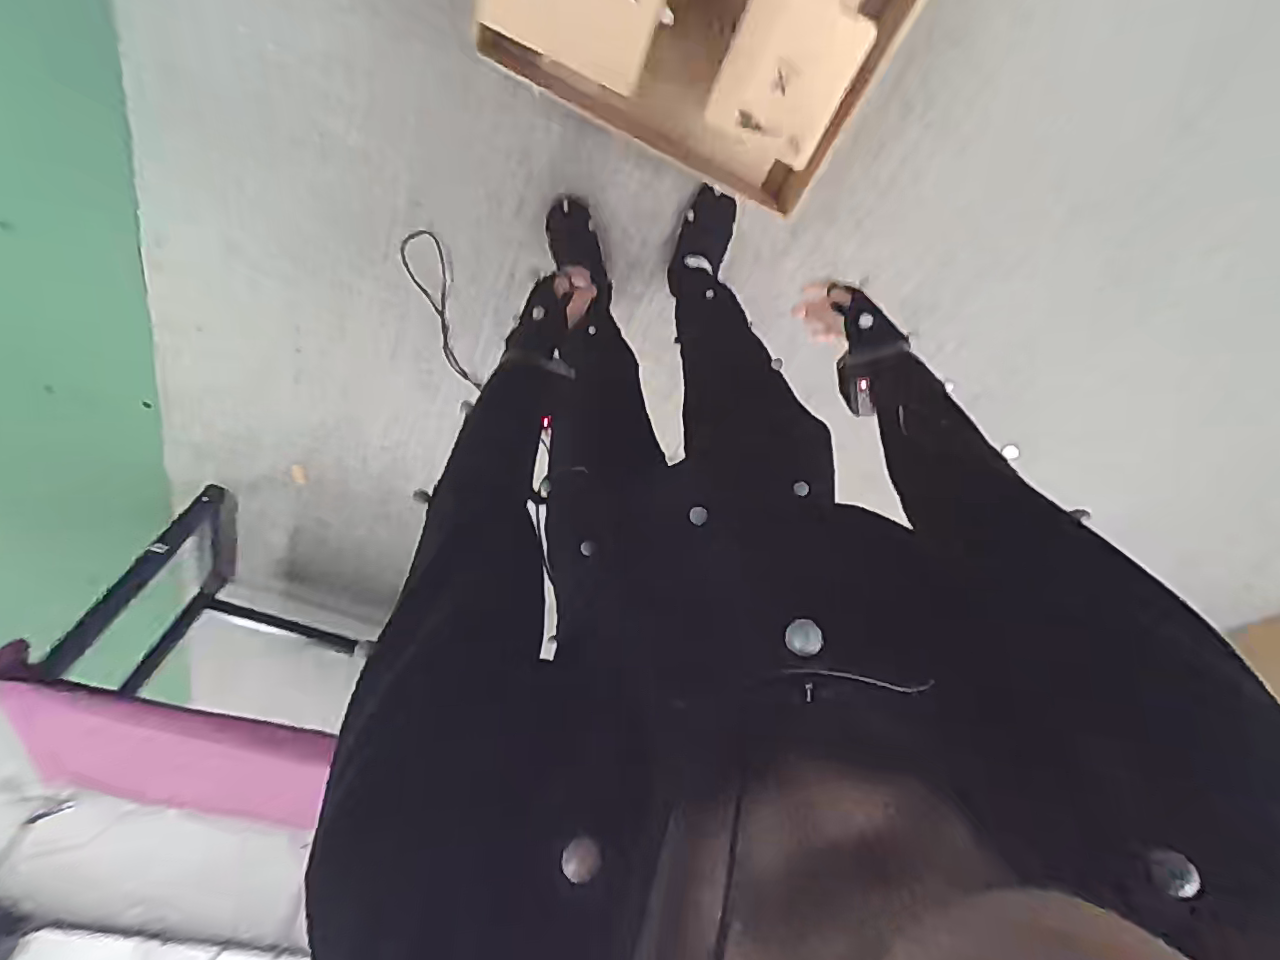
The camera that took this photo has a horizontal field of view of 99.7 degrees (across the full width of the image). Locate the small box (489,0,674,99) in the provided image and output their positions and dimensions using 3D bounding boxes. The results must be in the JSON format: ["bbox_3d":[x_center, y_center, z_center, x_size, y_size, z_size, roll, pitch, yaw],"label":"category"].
[{"bbox_3d":[-0.047,-0.566,0.604,0.179,0.176,0.168,18,132,-13],"label":"small box"}]

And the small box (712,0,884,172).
[{"bbox_3d":[0.211,-0.588,0.784,0.168,0.176,0.179,20,129,-11],"label":"small box"}]

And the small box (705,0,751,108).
[{"bbox_3d":[0.223,-0.692,0.910,0.179,0.176,0.168,21,130,-12],"label":"small box"}]
